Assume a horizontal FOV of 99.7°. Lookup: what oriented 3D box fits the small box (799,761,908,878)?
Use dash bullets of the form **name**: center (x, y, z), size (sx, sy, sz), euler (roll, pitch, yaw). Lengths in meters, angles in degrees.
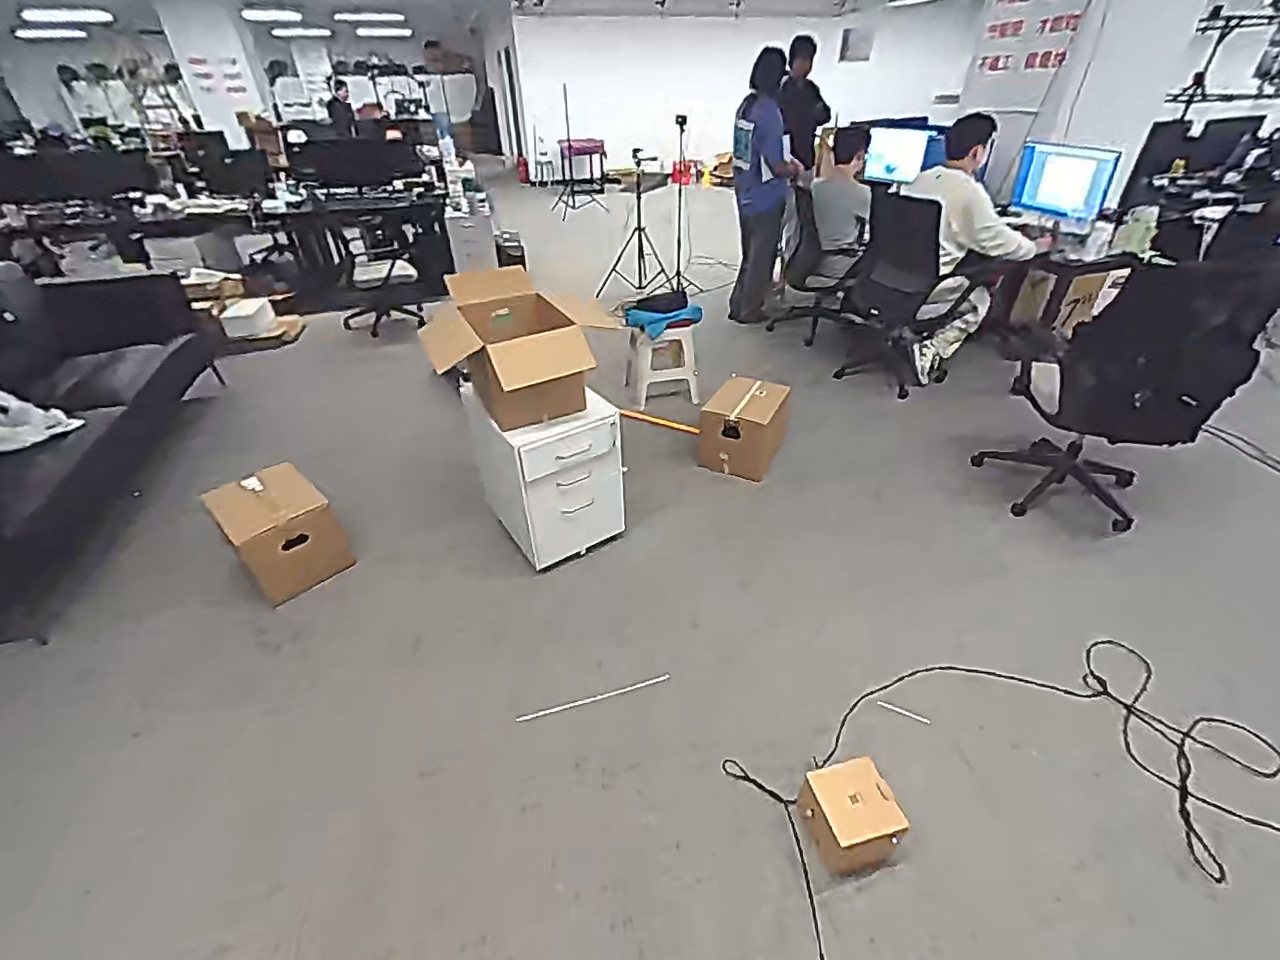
- **small box**: center (0.495, 0.811, 1.290), size (0.179, 0.176, 0.168), euler (-9, 36, -11)
